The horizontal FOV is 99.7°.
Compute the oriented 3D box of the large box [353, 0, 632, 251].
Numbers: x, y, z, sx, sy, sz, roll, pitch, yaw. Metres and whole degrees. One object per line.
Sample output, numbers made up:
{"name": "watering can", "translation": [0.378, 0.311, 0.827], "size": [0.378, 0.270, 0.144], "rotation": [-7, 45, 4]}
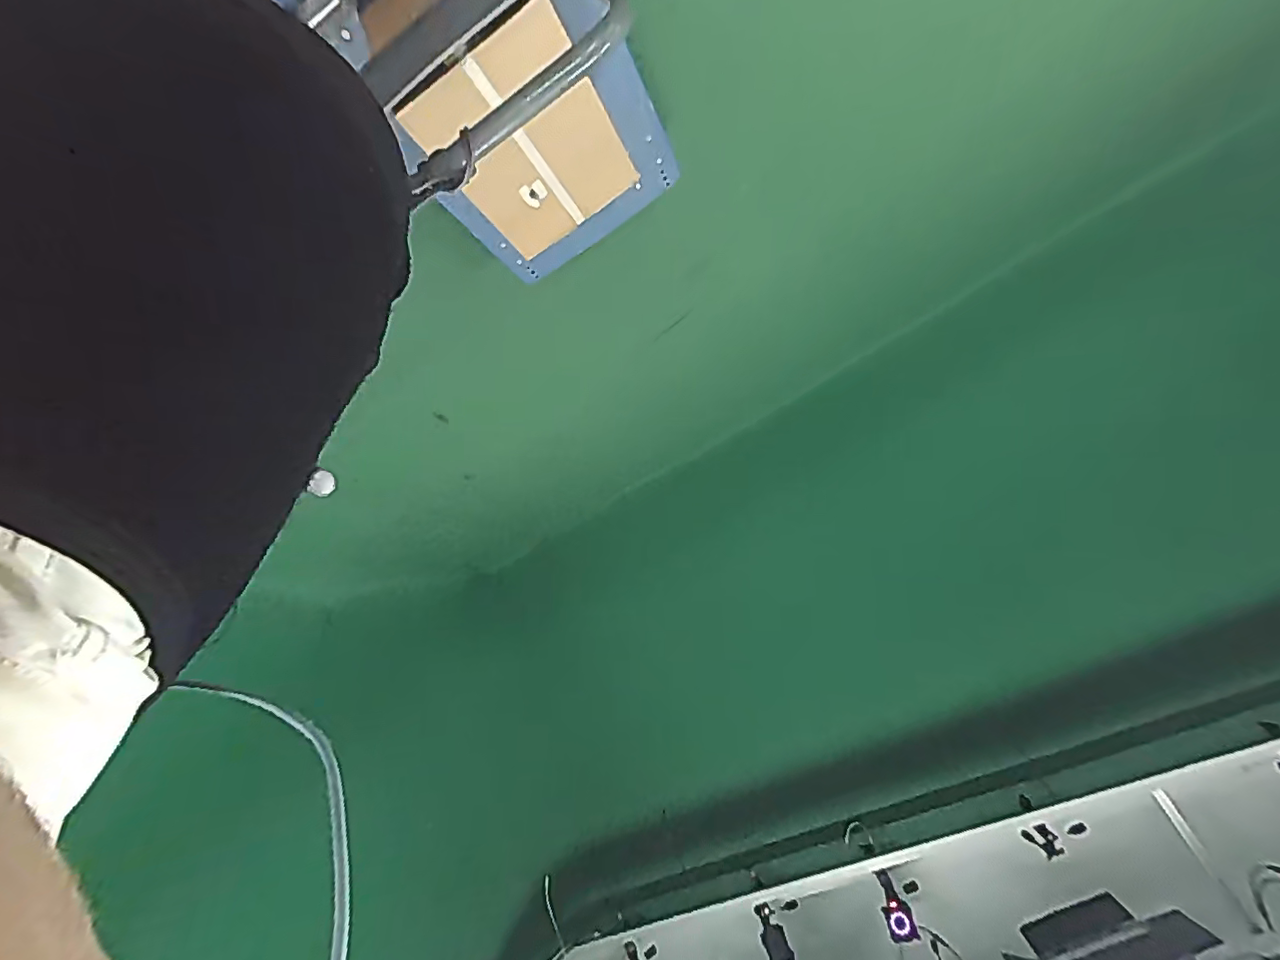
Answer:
{"name": "large box", "translation": [-0.277, -0.765, 1.084], "size": [0.320, 0.320, 0.408], "rotation": [-29, 159, 13]}
